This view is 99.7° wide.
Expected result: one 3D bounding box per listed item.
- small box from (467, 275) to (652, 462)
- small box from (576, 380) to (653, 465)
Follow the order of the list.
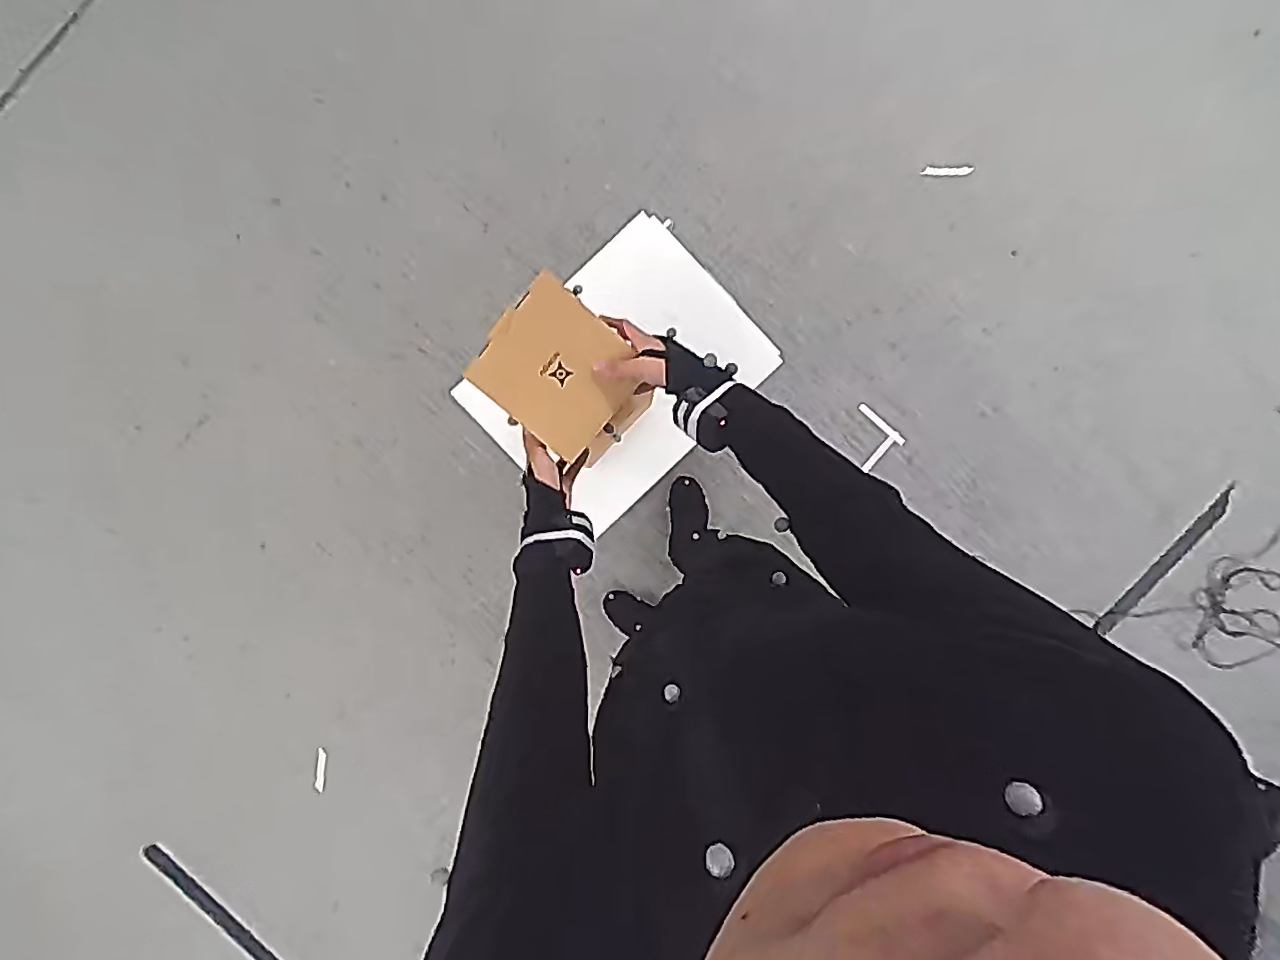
[{"bbox_3d":[-0.099,-0.151,0.751,0.179,0.176,0.168,40,98,-6],"label":"small box"},{"bbox_3d":[-0.094,-0.140,0.953,0.168,0.176,0.179,43,88,-1],"label":"small box"}]
